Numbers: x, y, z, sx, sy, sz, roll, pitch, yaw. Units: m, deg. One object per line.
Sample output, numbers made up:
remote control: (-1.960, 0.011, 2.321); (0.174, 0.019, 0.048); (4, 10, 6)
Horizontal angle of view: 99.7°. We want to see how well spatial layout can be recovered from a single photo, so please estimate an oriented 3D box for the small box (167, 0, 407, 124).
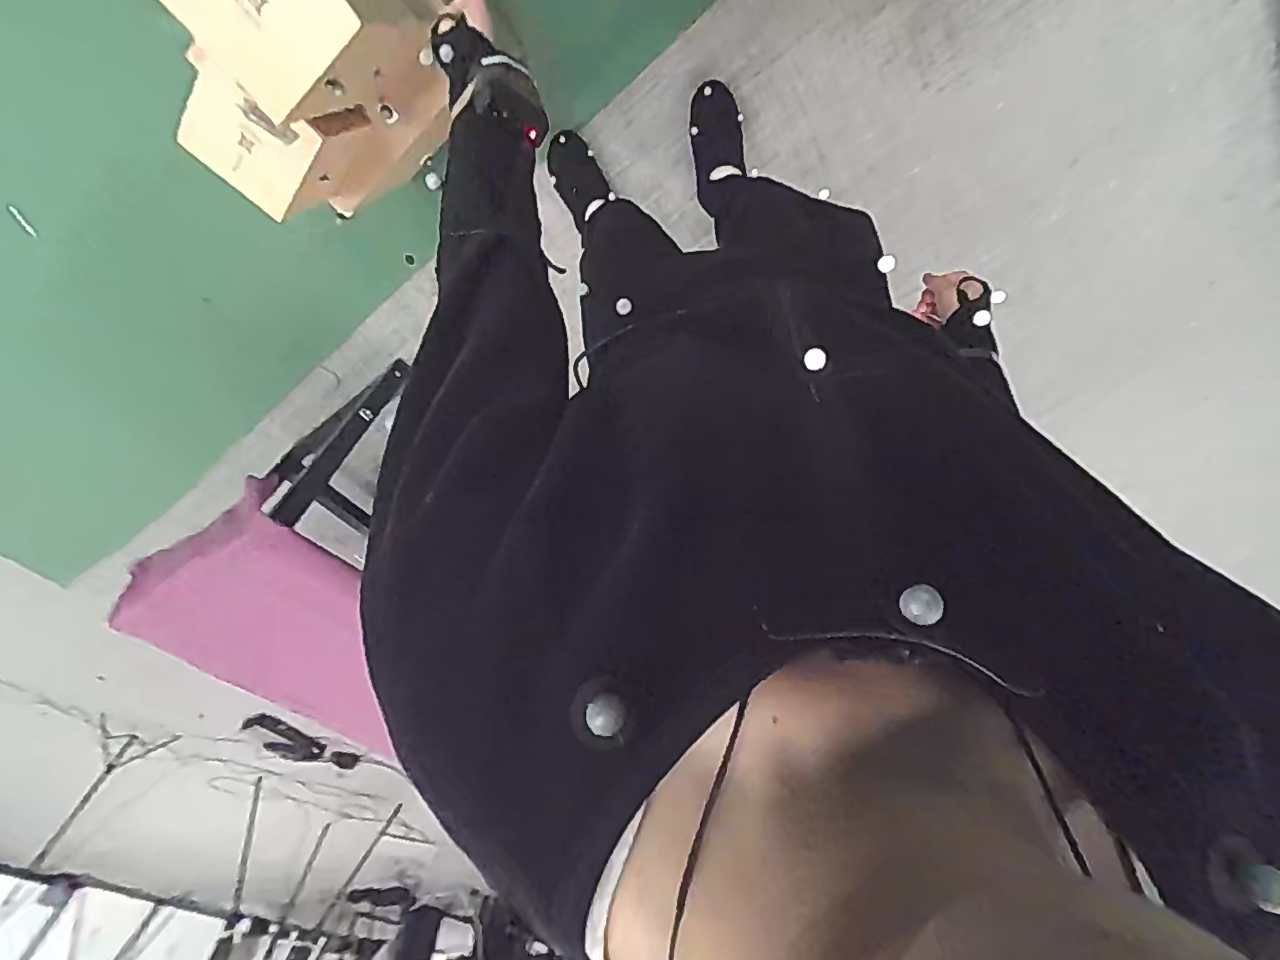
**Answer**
small box: (-0.410, -0.576, 0.649); (0.179, 0.176, 0.168); (-25, 125, 25)
